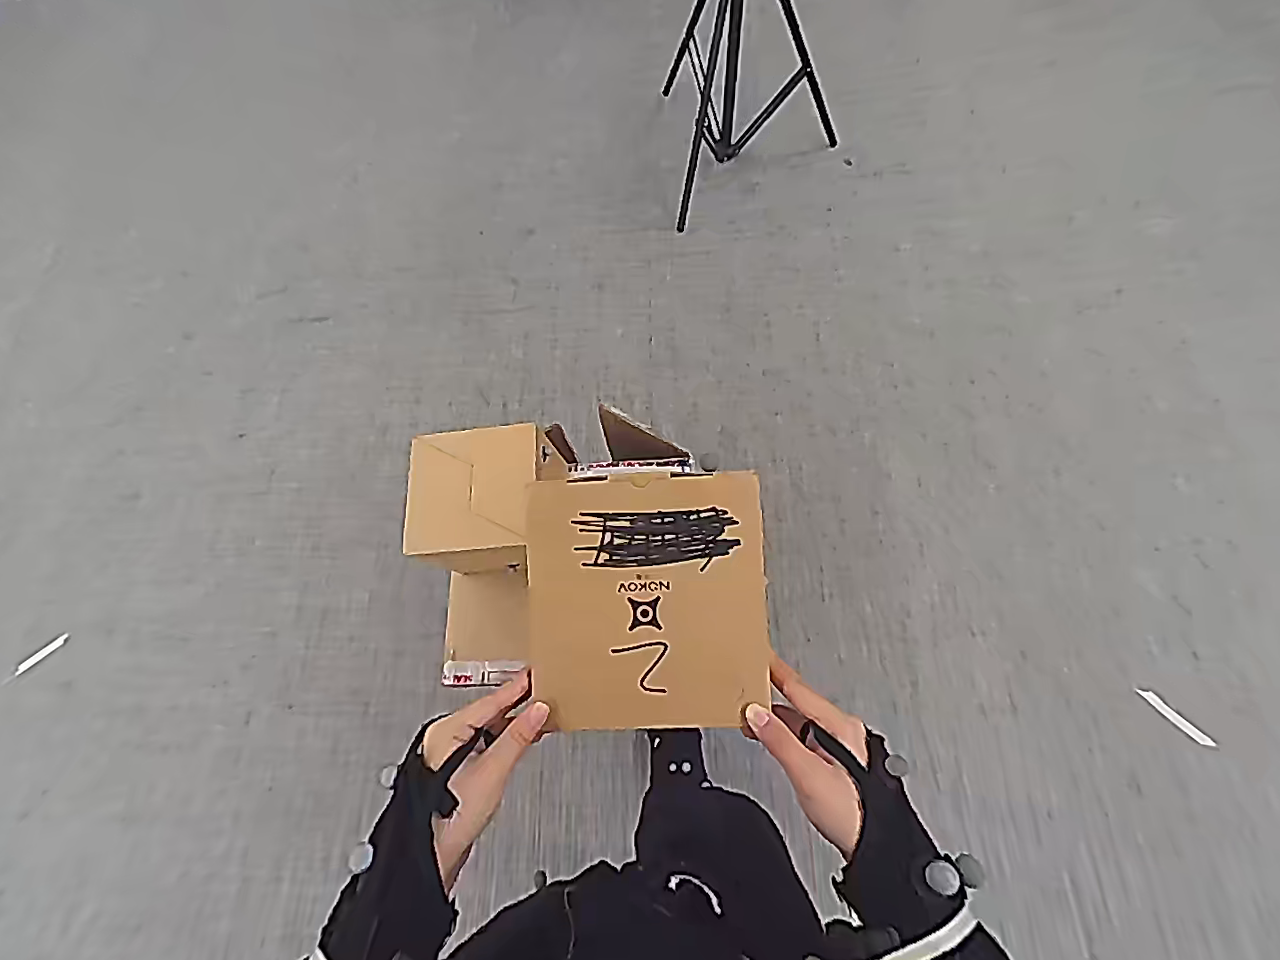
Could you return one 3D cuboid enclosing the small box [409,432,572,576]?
[{"bbox_3d":[-0.205,0.040,0.780,0.179,0.176,0.168,-5,71,6],"label":"small box"}]
